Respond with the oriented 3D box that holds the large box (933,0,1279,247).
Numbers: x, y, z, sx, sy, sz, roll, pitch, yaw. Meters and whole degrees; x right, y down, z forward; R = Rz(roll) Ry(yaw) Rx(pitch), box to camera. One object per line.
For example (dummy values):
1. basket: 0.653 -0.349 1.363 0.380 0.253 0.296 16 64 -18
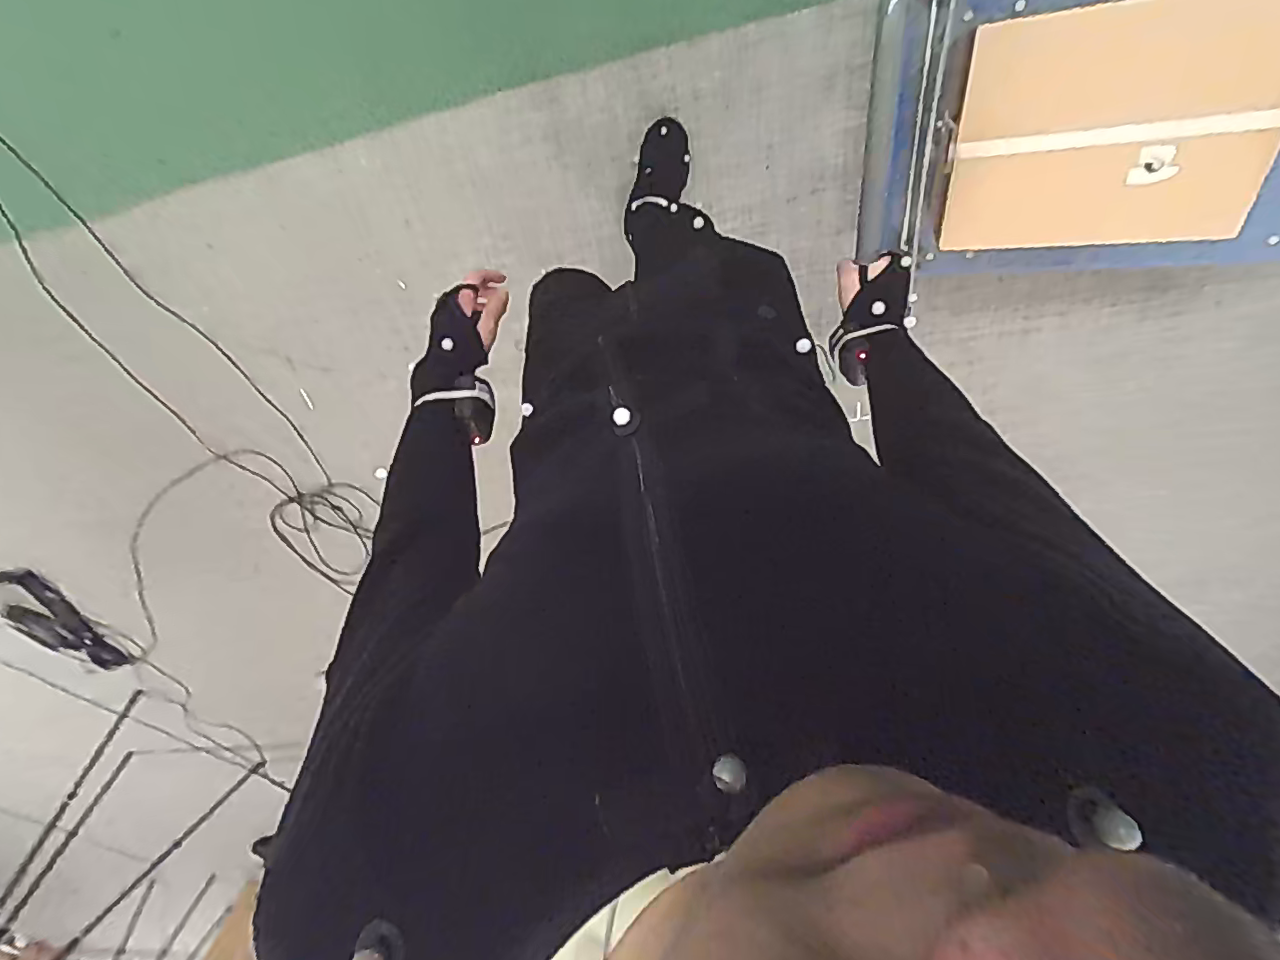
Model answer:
1. large box: 0.746 -0.601 0.907 0.408 0.320 0.320 6 127 20
